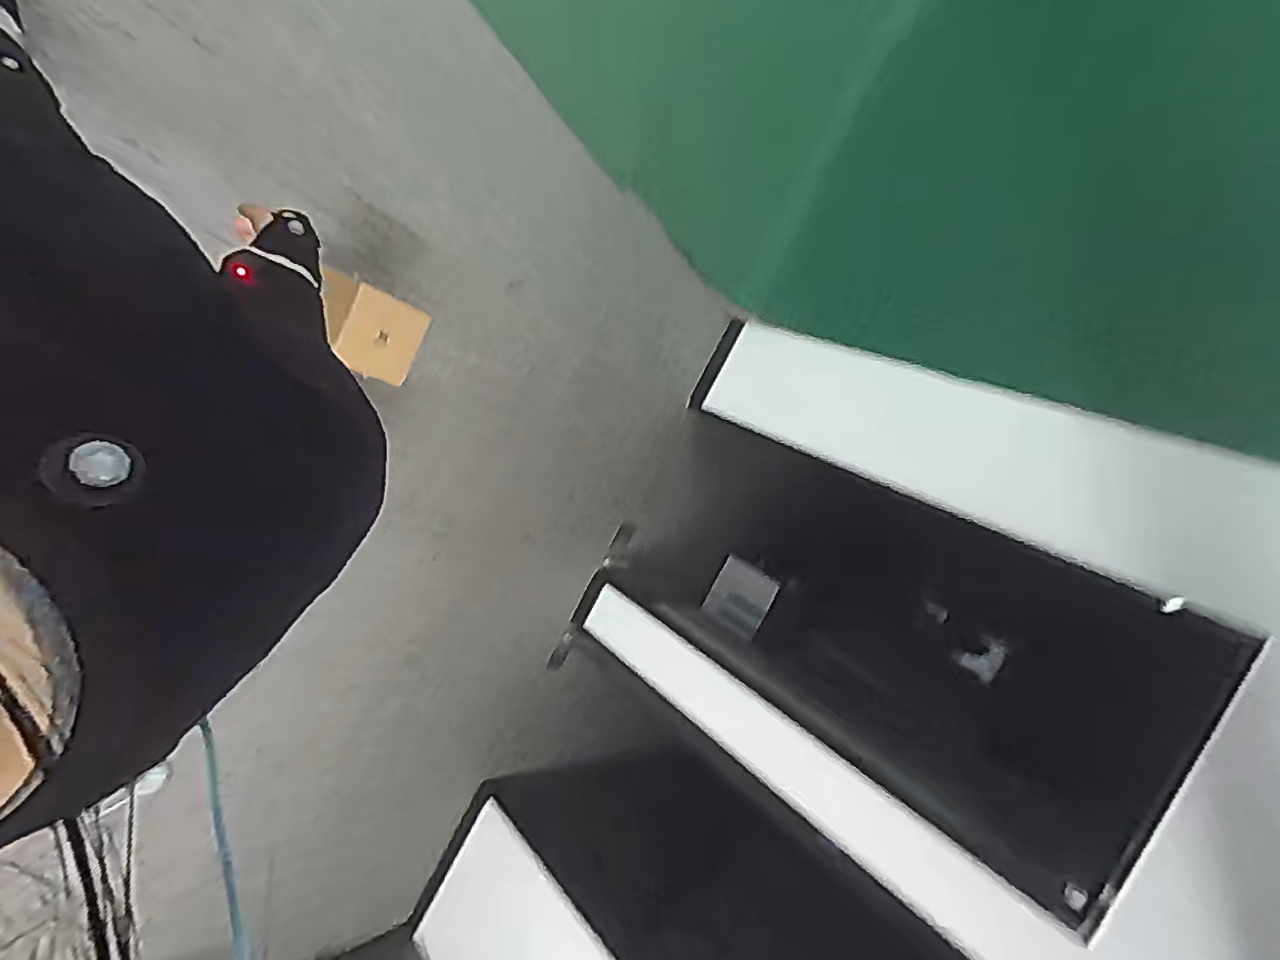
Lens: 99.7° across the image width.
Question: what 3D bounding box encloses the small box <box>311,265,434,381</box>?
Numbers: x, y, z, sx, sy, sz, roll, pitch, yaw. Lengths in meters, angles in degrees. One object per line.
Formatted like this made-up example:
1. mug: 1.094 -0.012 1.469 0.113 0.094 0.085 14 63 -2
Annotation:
1. small box: -0.602 -0.351 1.206 0.168 0.176 0.179 21 96 -54

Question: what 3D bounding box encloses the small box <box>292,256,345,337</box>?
1. small box: -0.710 -0.415 1.310 0.168 0.176 0.179 21 96 -54
